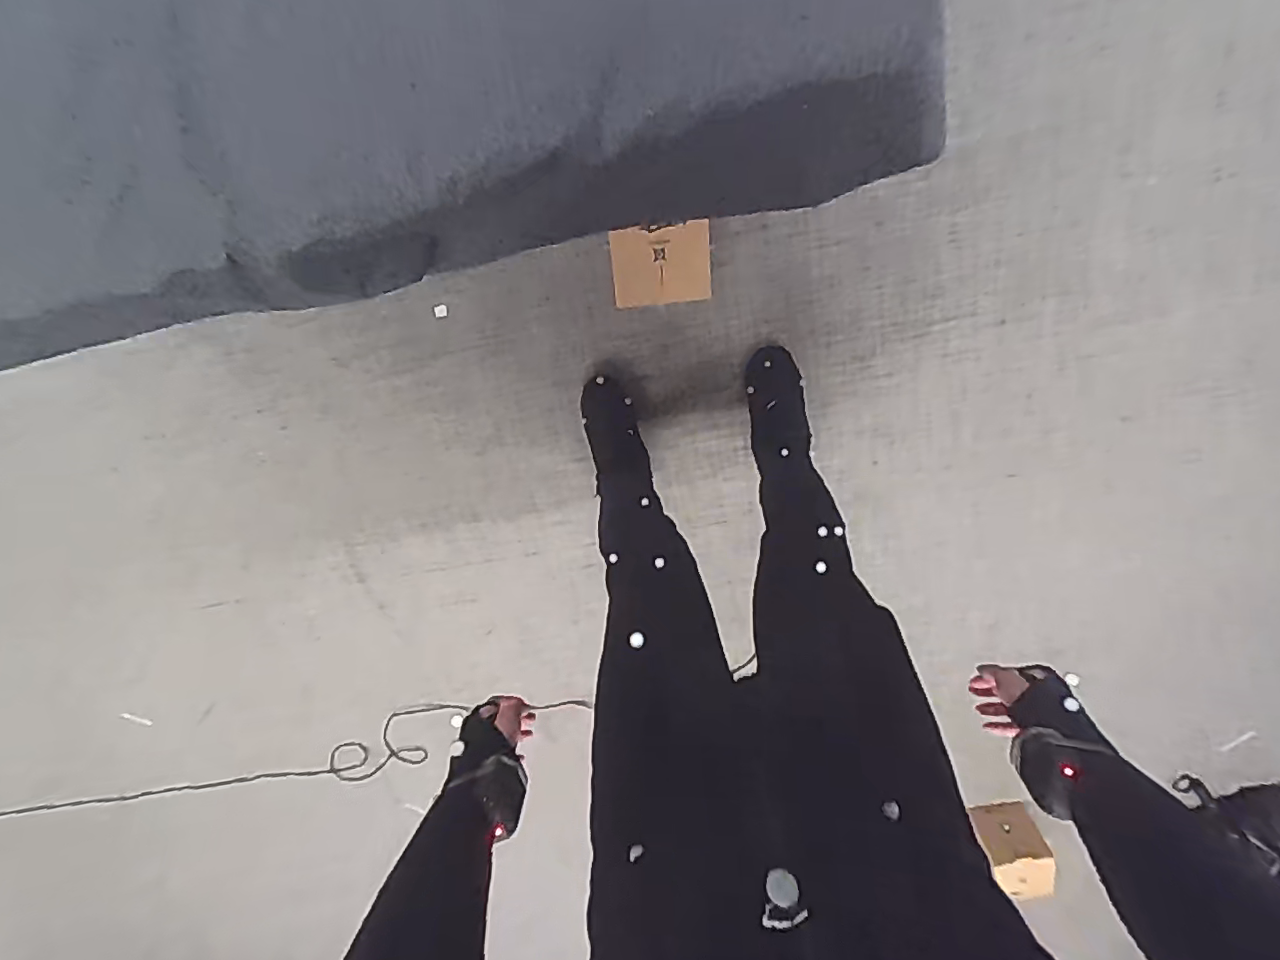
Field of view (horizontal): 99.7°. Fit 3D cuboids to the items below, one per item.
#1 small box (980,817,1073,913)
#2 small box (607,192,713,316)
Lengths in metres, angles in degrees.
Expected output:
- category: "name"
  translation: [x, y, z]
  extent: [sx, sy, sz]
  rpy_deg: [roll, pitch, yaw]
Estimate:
- category: "small box"
  translation: [1.124, 1.119, 1.585]
  extent: [0.168, 0.176, 0.179]
  rpy_deg: [-13, 112, 9]
- category: "small box"
  translation: [0.037, -0.400, 0.963]
  extent: [0.168, 0.176, 0.179]
  rpy_deg: [-5, 115, 5]
